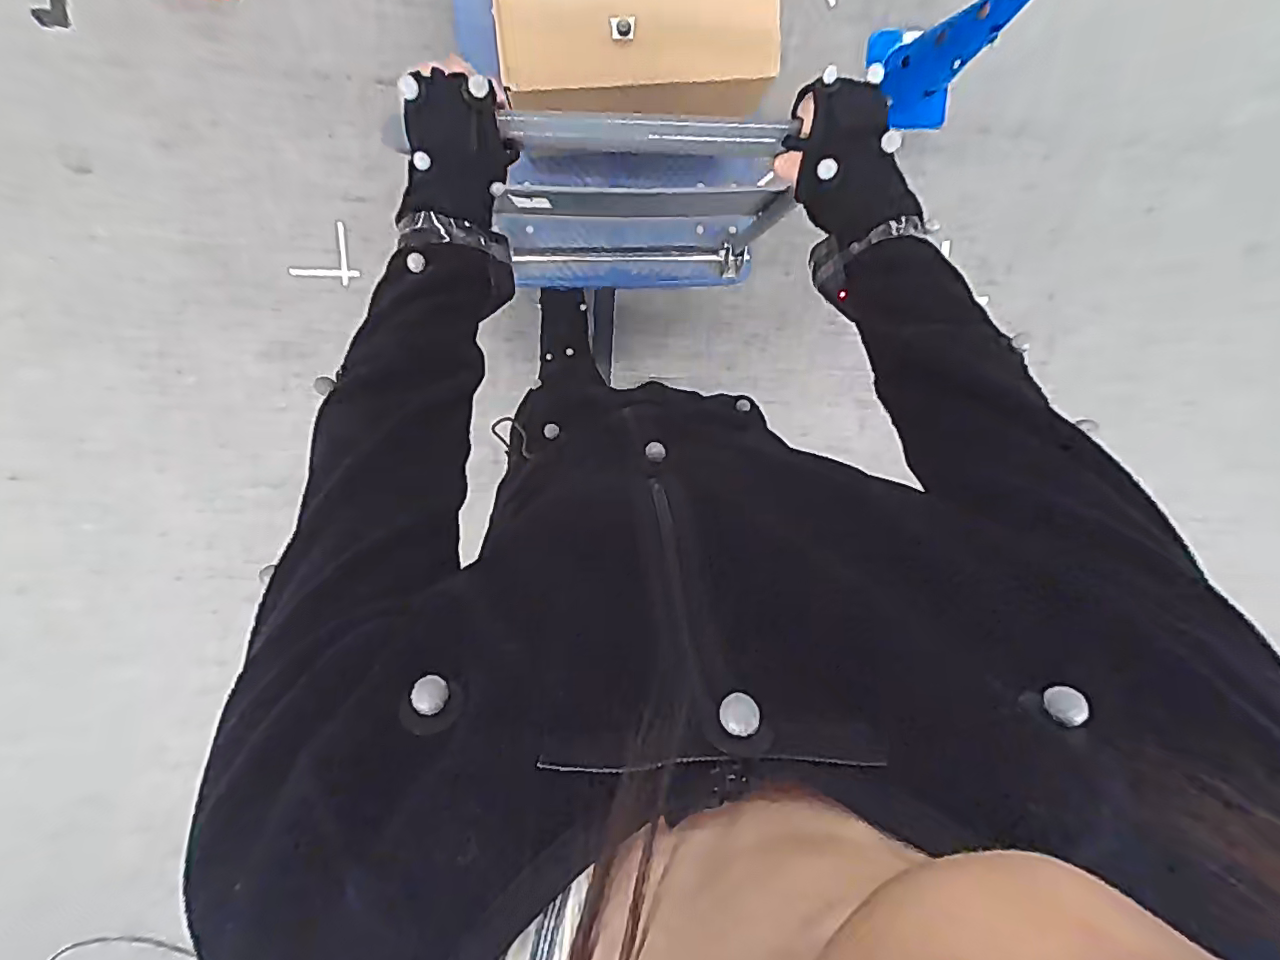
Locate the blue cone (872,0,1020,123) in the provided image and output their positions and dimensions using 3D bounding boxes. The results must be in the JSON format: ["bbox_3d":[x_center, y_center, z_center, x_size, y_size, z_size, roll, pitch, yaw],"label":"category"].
[{"bbox_3d":[0.645,-0.895,1.095,0.193,0.380,0.192,-3,104,-6],"label":"blue cone"}]
